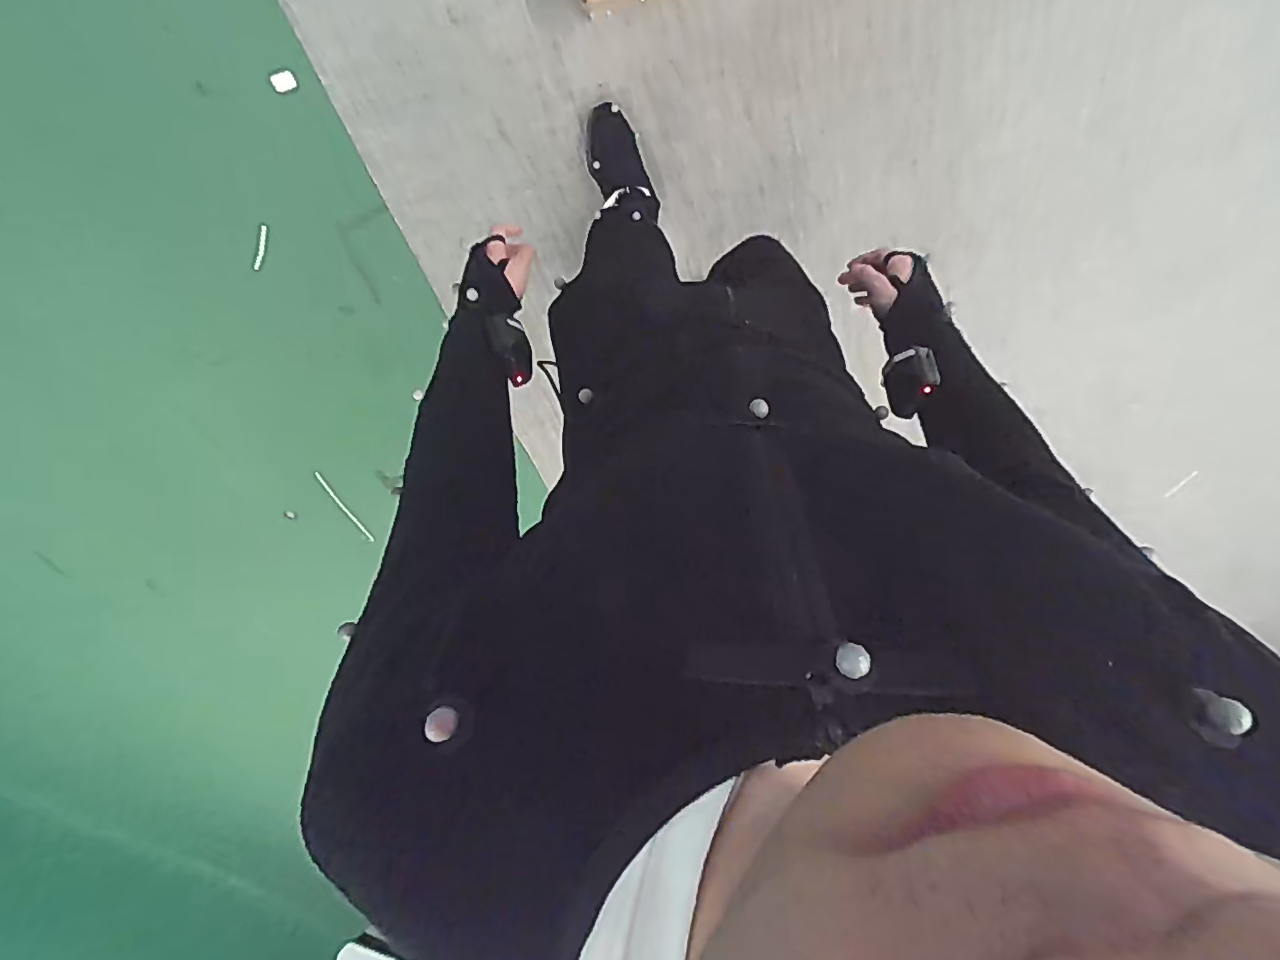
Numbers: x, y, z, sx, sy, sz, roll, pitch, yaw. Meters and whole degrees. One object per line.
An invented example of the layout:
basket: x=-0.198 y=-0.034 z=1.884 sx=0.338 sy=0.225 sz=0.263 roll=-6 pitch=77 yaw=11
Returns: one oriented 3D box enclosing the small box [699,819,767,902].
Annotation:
small box: x=0.297 y=1.222 z=1.738 sx=0.168 sy=0.176 sz=0.179 roll=-17 pitch=127 yaw=6
